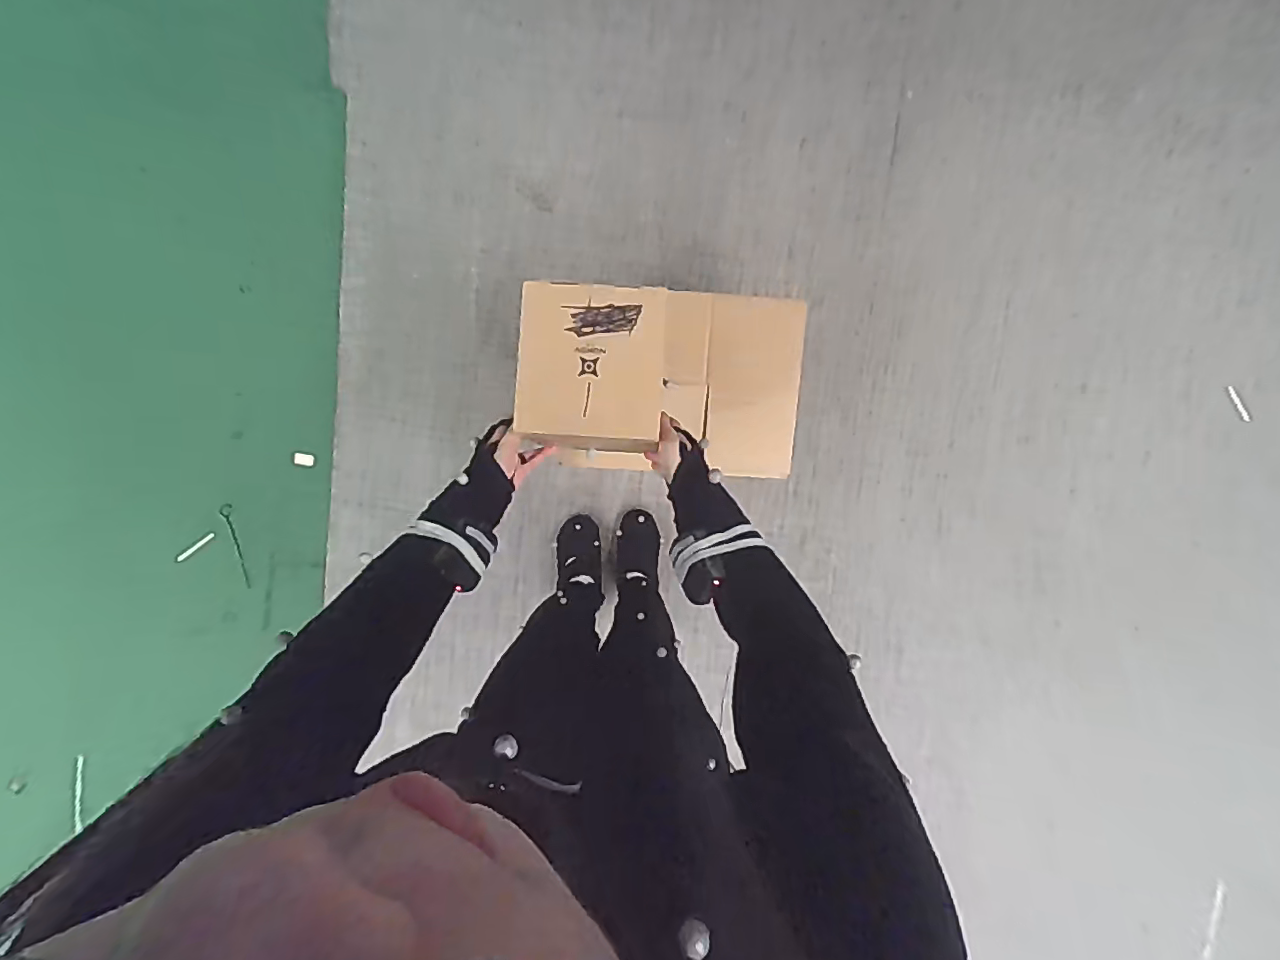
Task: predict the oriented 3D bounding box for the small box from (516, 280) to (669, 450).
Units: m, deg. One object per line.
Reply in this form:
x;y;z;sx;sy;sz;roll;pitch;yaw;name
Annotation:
-0.053;-0.138;0.702;0.168;0.176;0.179;4;89;2;small box
